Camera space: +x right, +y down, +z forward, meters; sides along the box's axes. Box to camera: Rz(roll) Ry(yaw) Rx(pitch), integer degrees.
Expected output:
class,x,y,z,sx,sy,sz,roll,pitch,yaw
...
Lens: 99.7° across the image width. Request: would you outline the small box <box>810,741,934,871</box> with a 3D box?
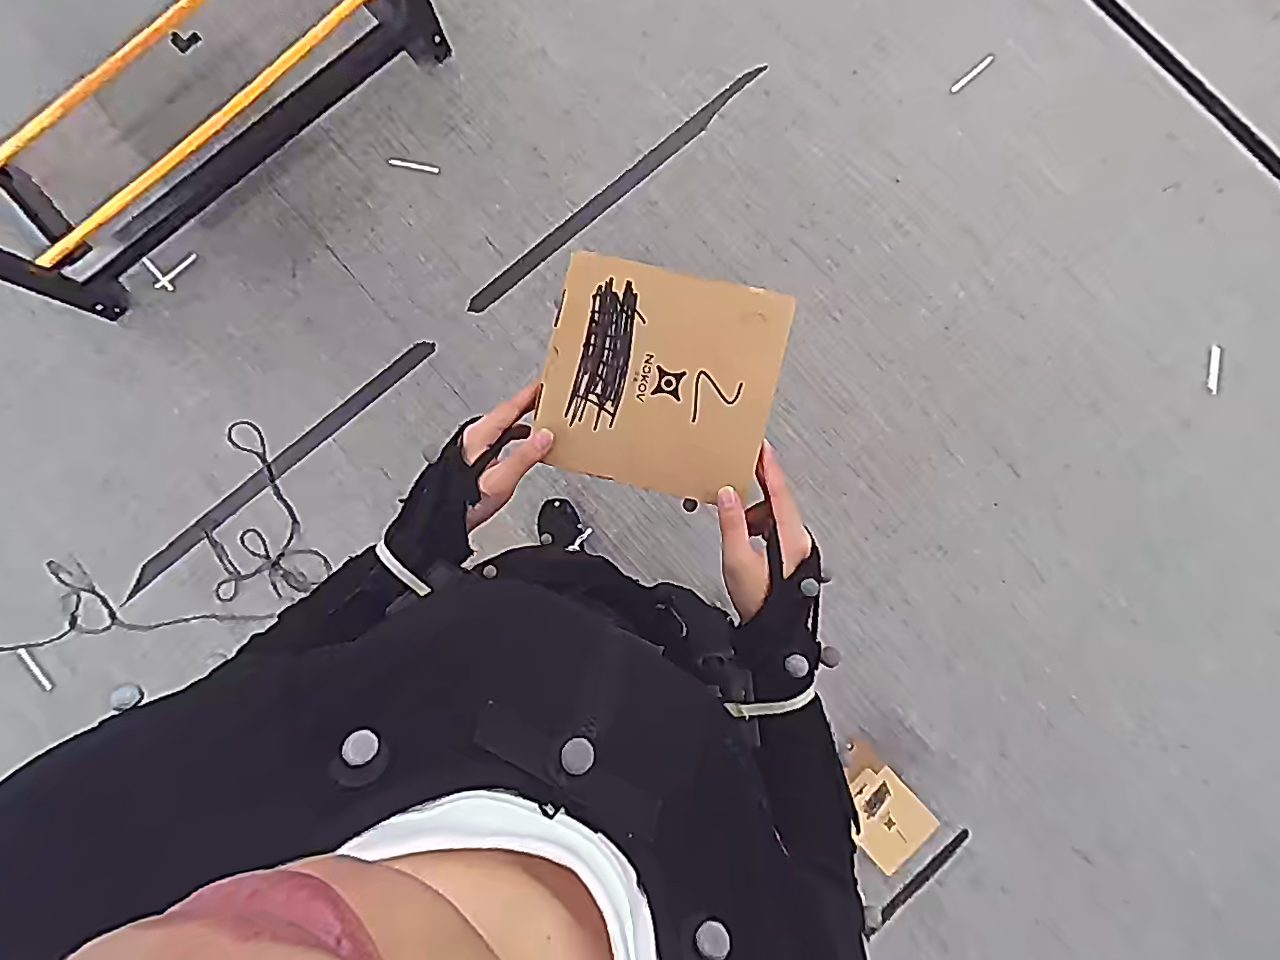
class,x,y,z,sx,sy,sz,roll,pitch,yaw
small box,0.534,0.749,1.274,0.168,0.176,0.179,-43,88,-3
